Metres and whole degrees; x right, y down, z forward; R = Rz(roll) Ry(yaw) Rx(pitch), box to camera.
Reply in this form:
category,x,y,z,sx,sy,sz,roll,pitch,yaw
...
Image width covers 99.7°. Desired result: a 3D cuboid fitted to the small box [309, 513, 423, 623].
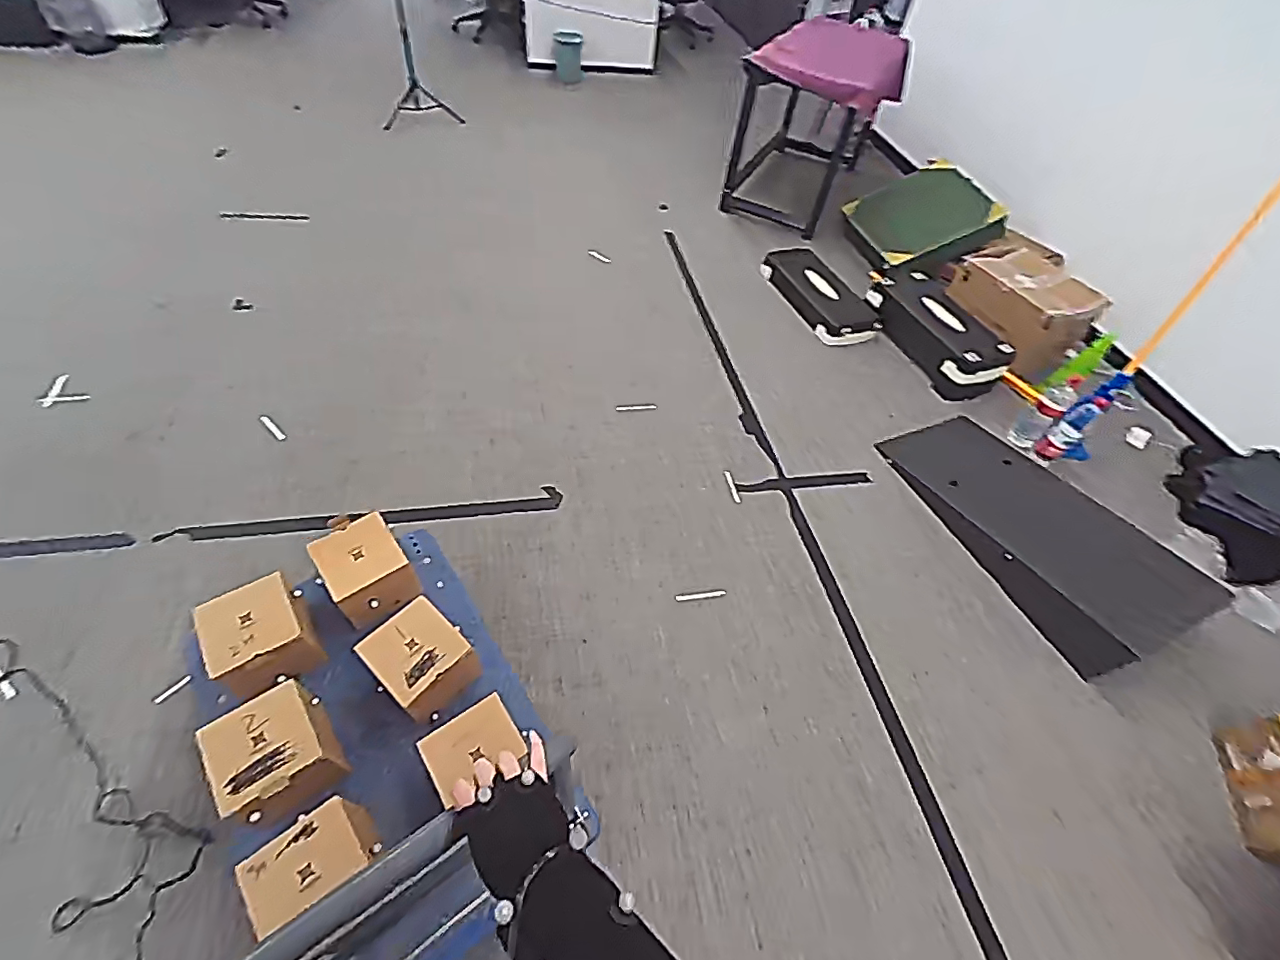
category,x,y,z,sx,sy,sz,roll,pitch,yaw
small box,-0.642,0.217,1.286,0.168,0.176,0.179,-31,62,-27

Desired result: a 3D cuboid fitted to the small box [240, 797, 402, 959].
category,x,y,z,sx,sy,sz,roll,pitch,yaw
small box,-0.538,0.689,0.934,0.168,0.176,0.179,-31,62,-28

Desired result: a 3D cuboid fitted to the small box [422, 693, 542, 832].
category,x,y,z,sx,sy,sz,roll,pitch,yaw
small box,-0.304,0.562,1.067,0.168,0.176,0.179,-26,60,-26

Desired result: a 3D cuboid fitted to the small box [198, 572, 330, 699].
category,x,y,z,sx,sy,sz,roll,pitch,yaw
small box,-0.805,0.338,1.167,0.168,0.176,0.179,-26,61,-25

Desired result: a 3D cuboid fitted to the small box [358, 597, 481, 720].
category,x,y,z,sx,sy,sz,roll,pitch,yaw
small box,-0.467,0.394,1.173,0.179,0.176,0.168,37,56,20
